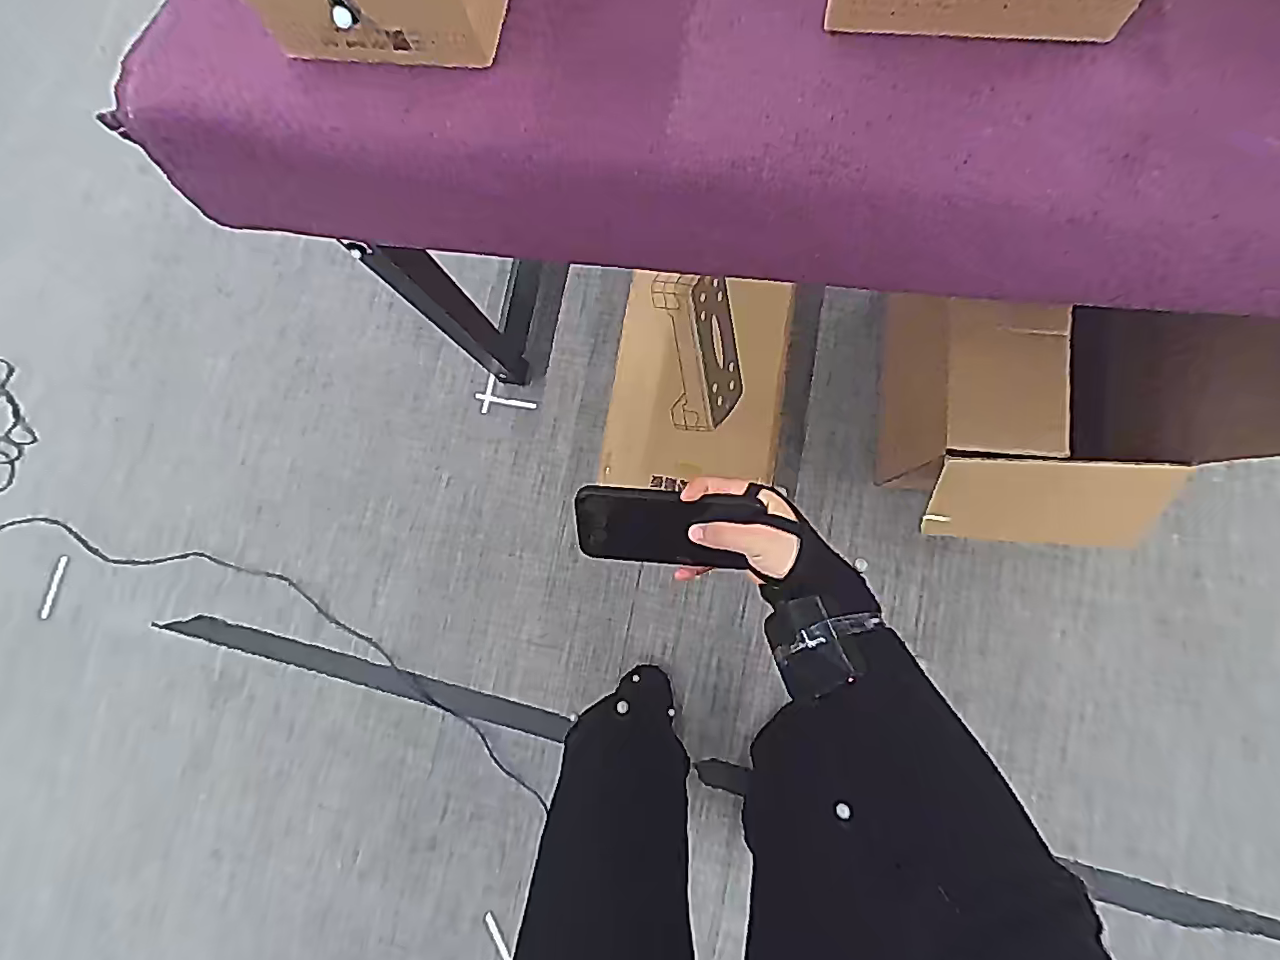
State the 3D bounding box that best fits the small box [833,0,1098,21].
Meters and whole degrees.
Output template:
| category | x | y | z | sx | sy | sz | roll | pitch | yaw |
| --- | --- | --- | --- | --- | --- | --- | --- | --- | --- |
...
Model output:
| category | x | y | z | sx | sy | sz | roll | pitch | yaw |
| --- | --- | --- | --- | --- | --- | --- | --- | --- | --- |
| small box | 0.213 | -0.383 | 0.275 | 0.179 | 0.176 | 0.168 | 8 | 81 | 8 |
